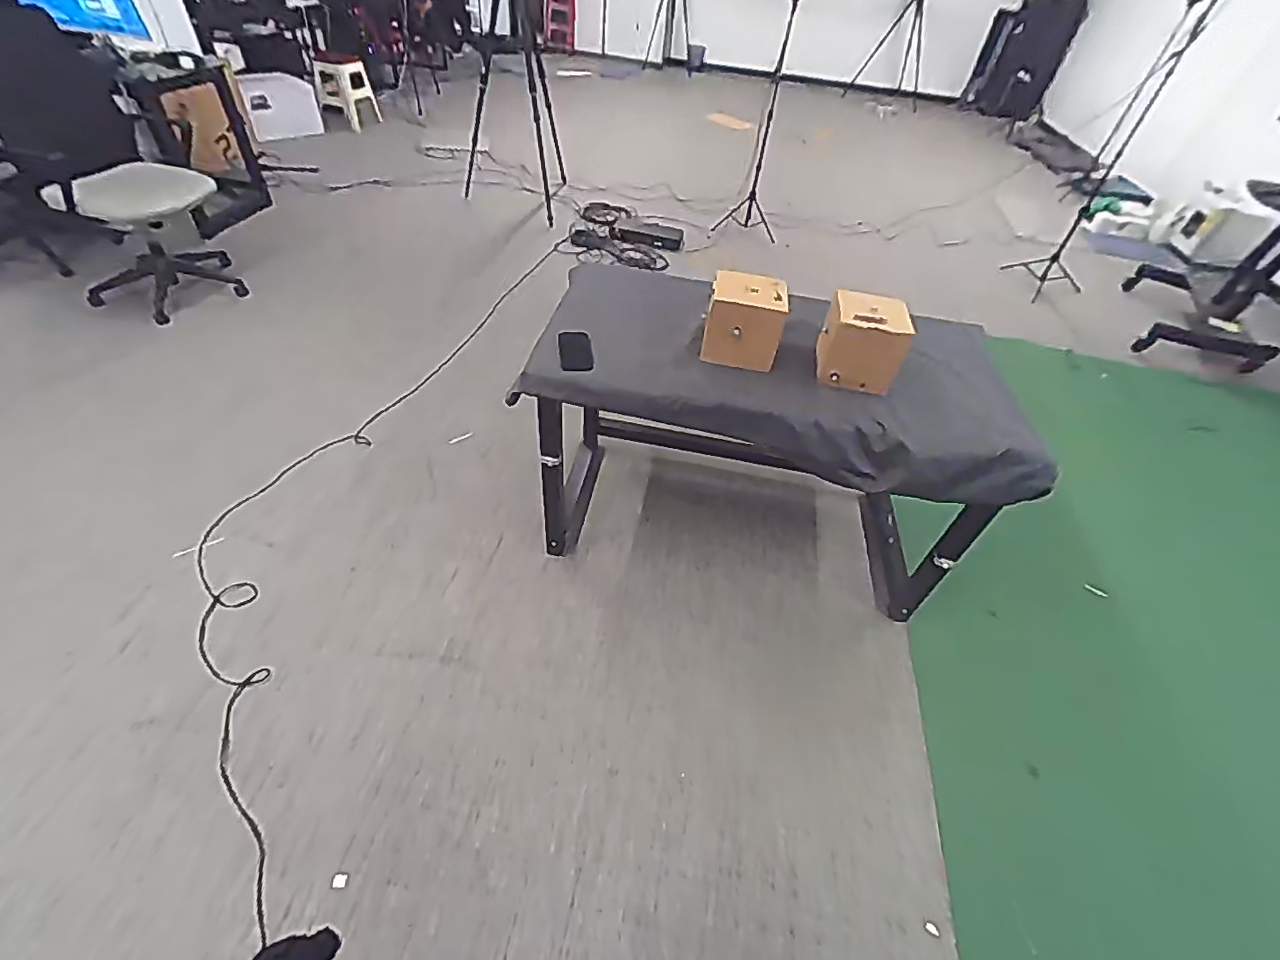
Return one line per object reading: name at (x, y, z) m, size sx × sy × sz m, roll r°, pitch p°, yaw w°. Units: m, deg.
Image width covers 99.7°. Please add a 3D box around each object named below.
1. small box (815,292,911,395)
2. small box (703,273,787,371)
small box at (0.536, -0.332, 1.324) m, size 0.168 × 0.176 × 0.179 m, roll 12°, pitch 45°, yaw 4°
small box at (0.256, -0.390, 1.344) m, size 0.179 × 0.176 × 0.168 m, roll 10°, pitch 46°, yaw 3°
